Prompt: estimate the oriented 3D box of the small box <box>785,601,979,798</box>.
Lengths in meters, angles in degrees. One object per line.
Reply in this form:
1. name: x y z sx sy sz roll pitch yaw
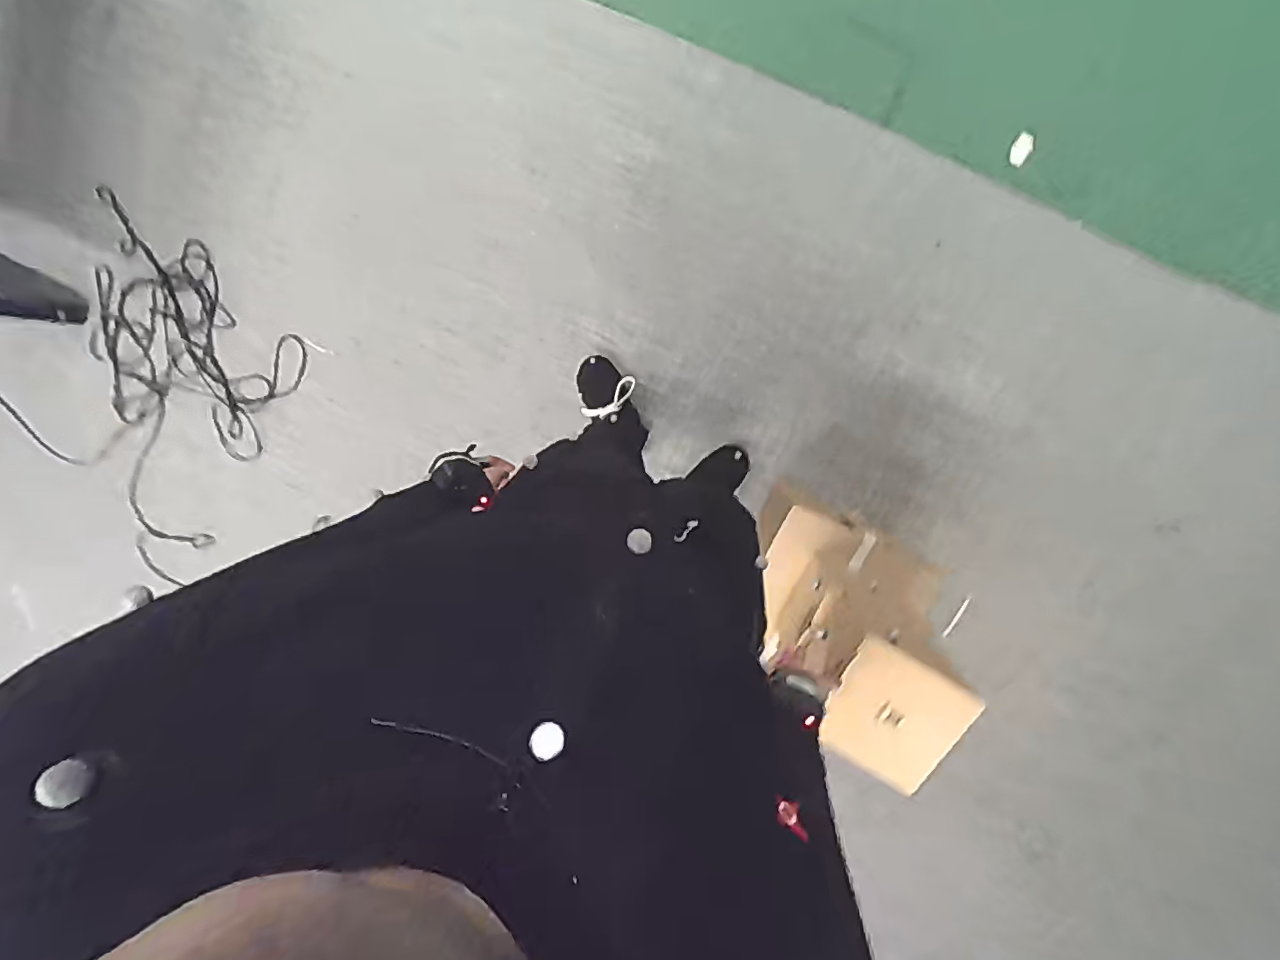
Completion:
1. small box: 0.336 0.306 0.792 0.179 0.176 0.168 31 103 2
